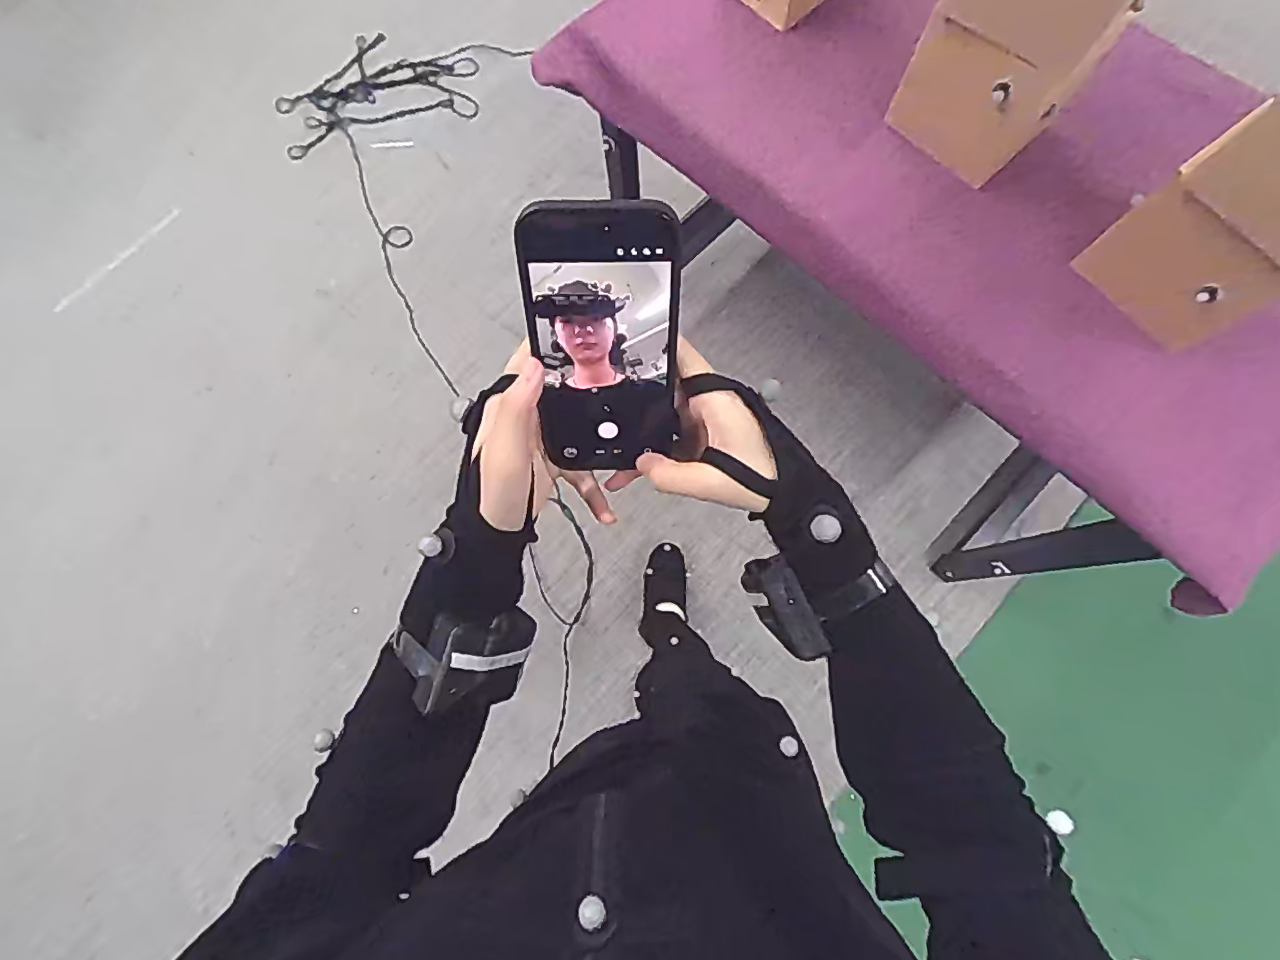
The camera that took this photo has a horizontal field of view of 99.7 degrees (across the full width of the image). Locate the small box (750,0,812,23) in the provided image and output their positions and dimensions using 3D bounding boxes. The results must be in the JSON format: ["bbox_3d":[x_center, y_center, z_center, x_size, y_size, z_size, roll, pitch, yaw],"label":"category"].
[{"bbox_3d":[0.228,-0.842,0.802,0.179,0.176,0.168,-42,78,-7],"label":"small box"}]

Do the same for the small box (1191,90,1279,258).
[{"bbox_3d":[0.684,-0.324,0.488,0.168,0.176,0.179,-36,78,-6],"label":"small box"}]

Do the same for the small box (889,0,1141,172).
[{"bbox_3d":[0.476,-0.552,0.719,0.168,0.176,0.179,-42,78,-7],"label":"small box"}]

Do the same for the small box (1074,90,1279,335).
[{"bbox_3d":[0.697,-0.301,0.650,0.168,0.176,0.179,-36,77,-6],"label":"small box"}]
